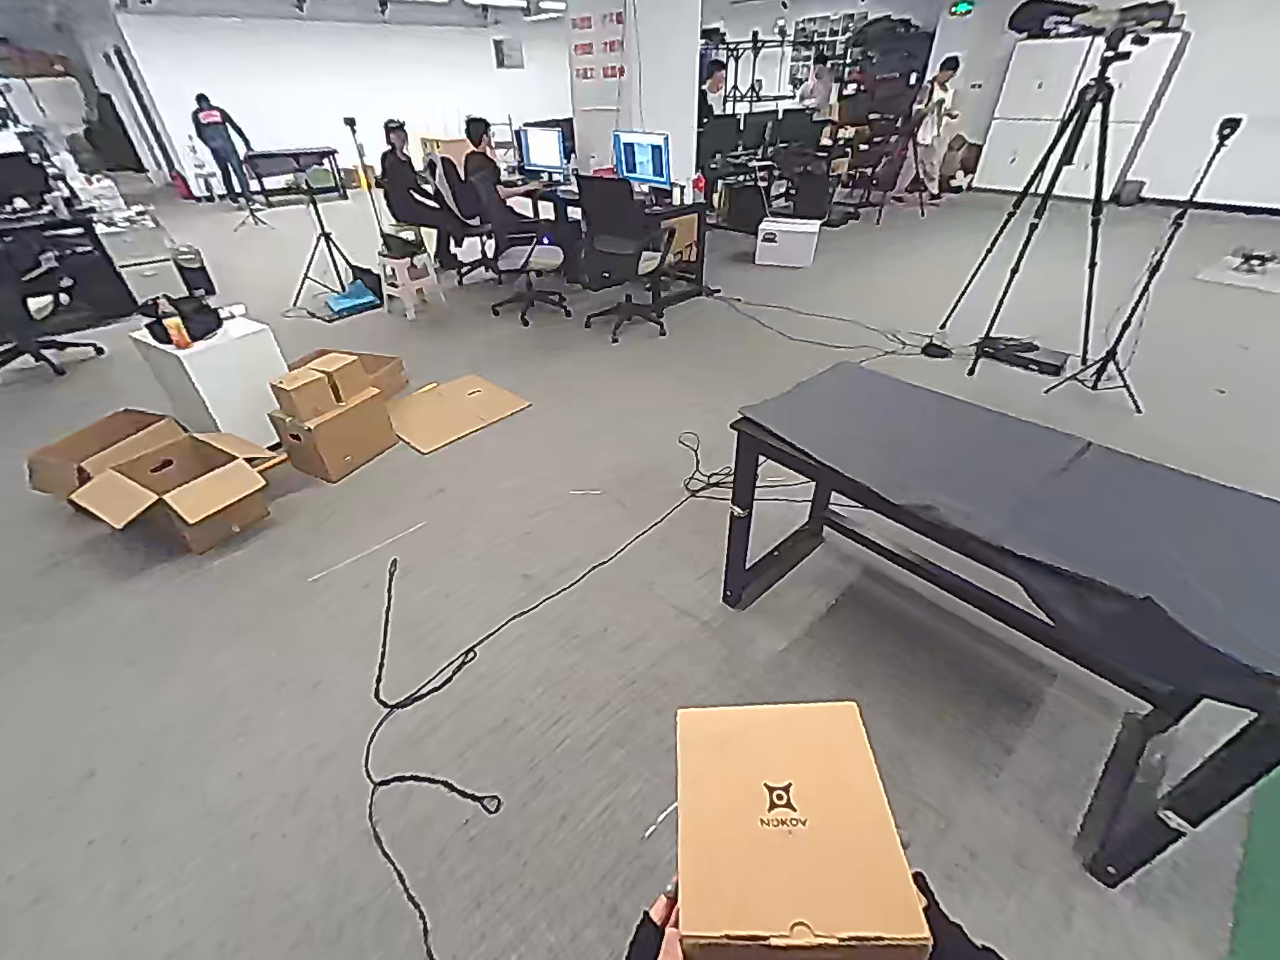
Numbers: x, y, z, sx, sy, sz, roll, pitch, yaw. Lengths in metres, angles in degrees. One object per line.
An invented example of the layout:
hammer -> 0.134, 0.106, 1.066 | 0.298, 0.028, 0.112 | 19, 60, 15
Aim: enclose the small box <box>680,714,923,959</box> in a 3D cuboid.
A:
small box -> 0.123, 0.336, 0.481 | 0.168, 0.176, 0.179 | -5, 34, 6
